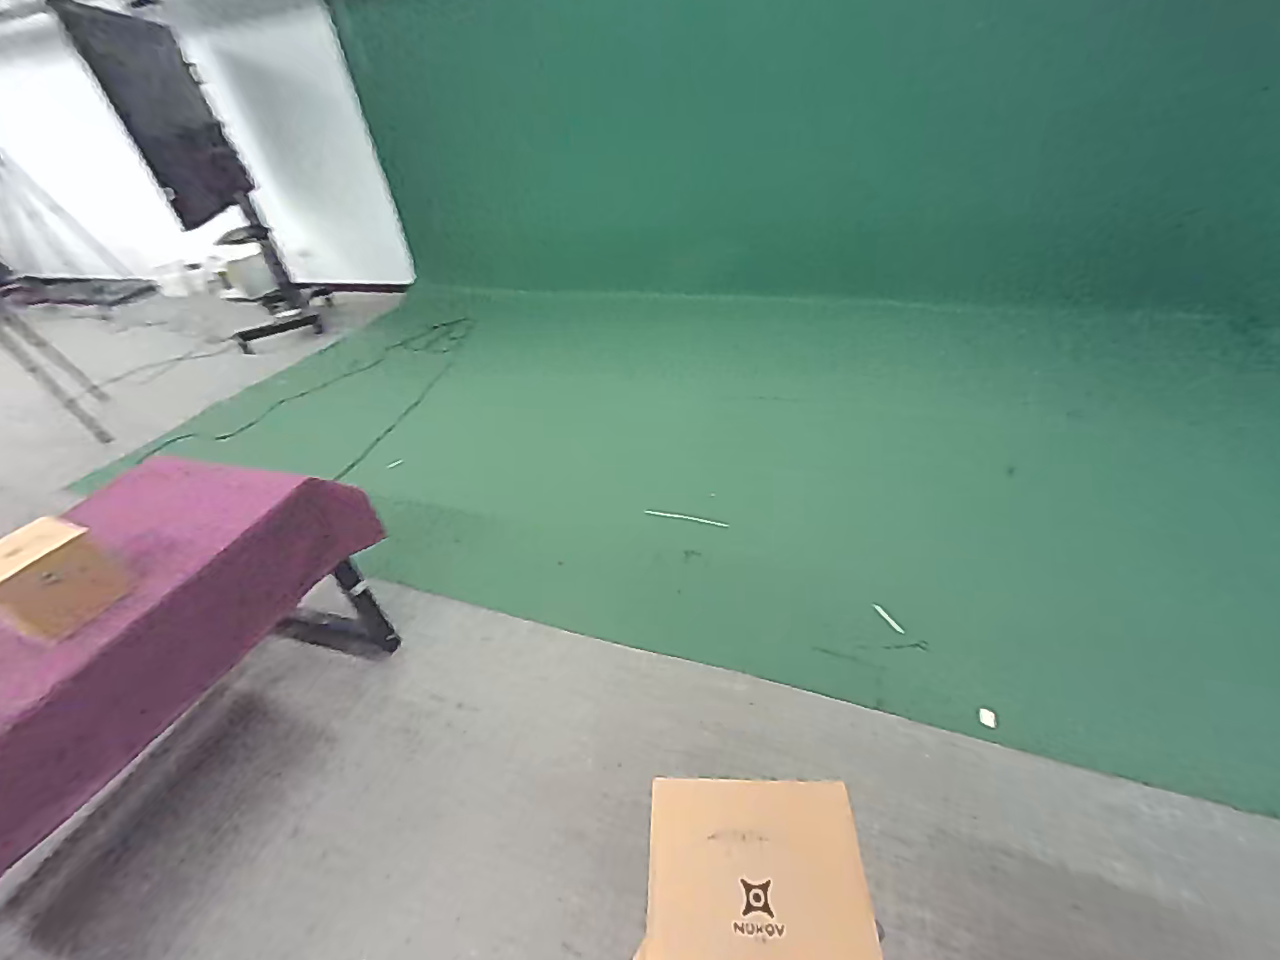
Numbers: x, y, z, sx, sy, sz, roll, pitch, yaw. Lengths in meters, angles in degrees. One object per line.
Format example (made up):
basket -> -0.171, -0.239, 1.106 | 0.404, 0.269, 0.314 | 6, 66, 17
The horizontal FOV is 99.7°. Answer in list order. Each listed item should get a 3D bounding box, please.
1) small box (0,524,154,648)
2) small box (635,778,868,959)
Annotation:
small box -> -1.198, 0.222, 1.137 | 0.168, 0.176, 0.179 | 10, 41, 22
small box -> 0.089, 0.377, 0.455 | 0.168, 0.176, 0.179 | -3, 39, 6
